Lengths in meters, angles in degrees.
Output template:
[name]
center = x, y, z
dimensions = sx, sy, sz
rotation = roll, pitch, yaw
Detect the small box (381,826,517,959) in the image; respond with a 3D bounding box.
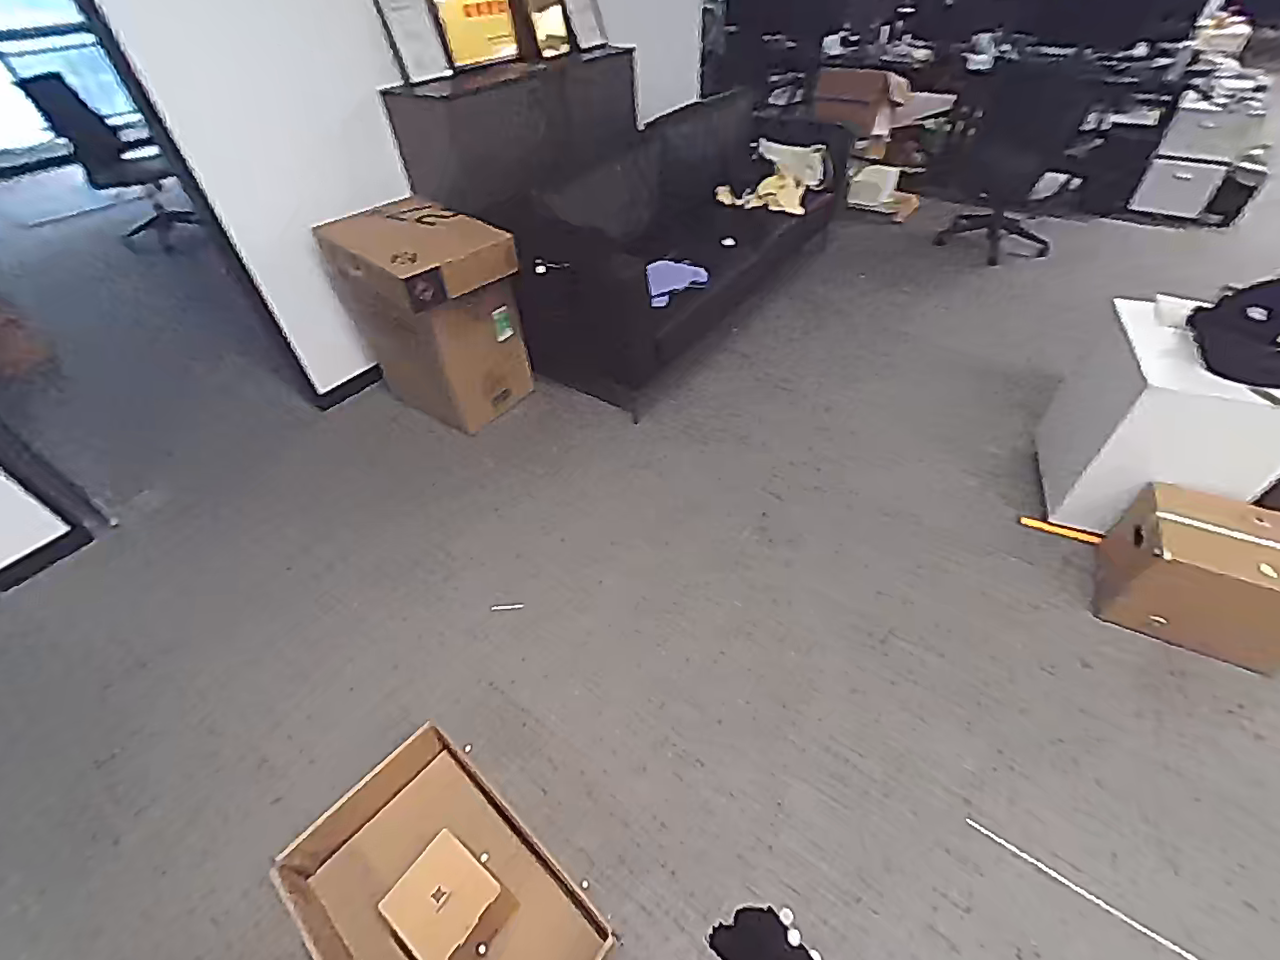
[small box]
center = -0.375, 0.850, 1.088
dimensions = 0.179, 0.176, 0.168
rotation = 26, 51, 27
